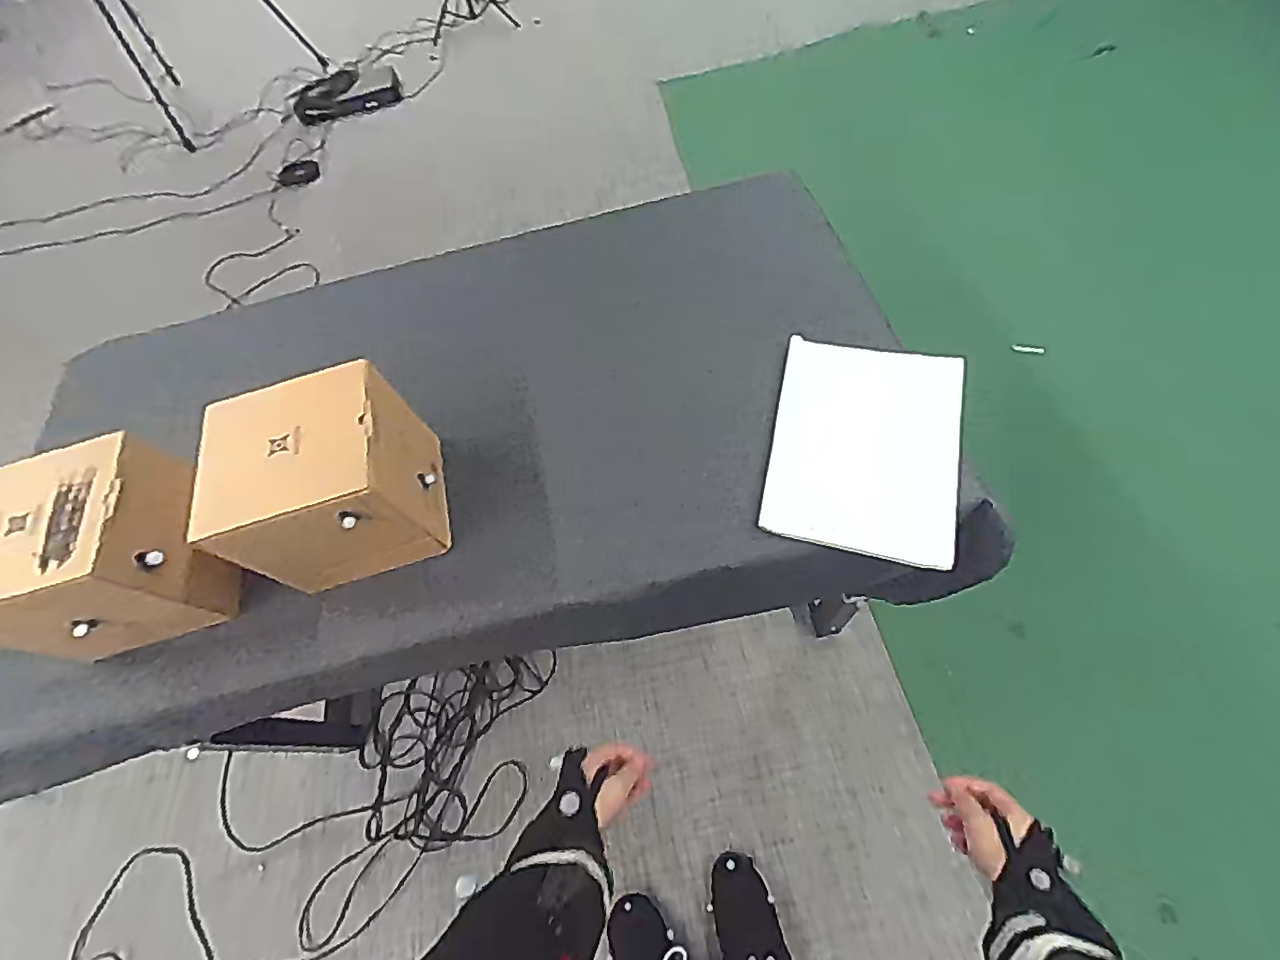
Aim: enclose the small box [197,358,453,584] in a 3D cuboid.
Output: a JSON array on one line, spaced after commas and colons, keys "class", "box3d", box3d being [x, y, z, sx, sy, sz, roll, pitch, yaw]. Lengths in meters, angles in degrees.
[{"class": "small box", "box3d": [-0.333, 0.000, 0.604, 0.179, 0.176, 0.168, -17, 61, -1]}]
